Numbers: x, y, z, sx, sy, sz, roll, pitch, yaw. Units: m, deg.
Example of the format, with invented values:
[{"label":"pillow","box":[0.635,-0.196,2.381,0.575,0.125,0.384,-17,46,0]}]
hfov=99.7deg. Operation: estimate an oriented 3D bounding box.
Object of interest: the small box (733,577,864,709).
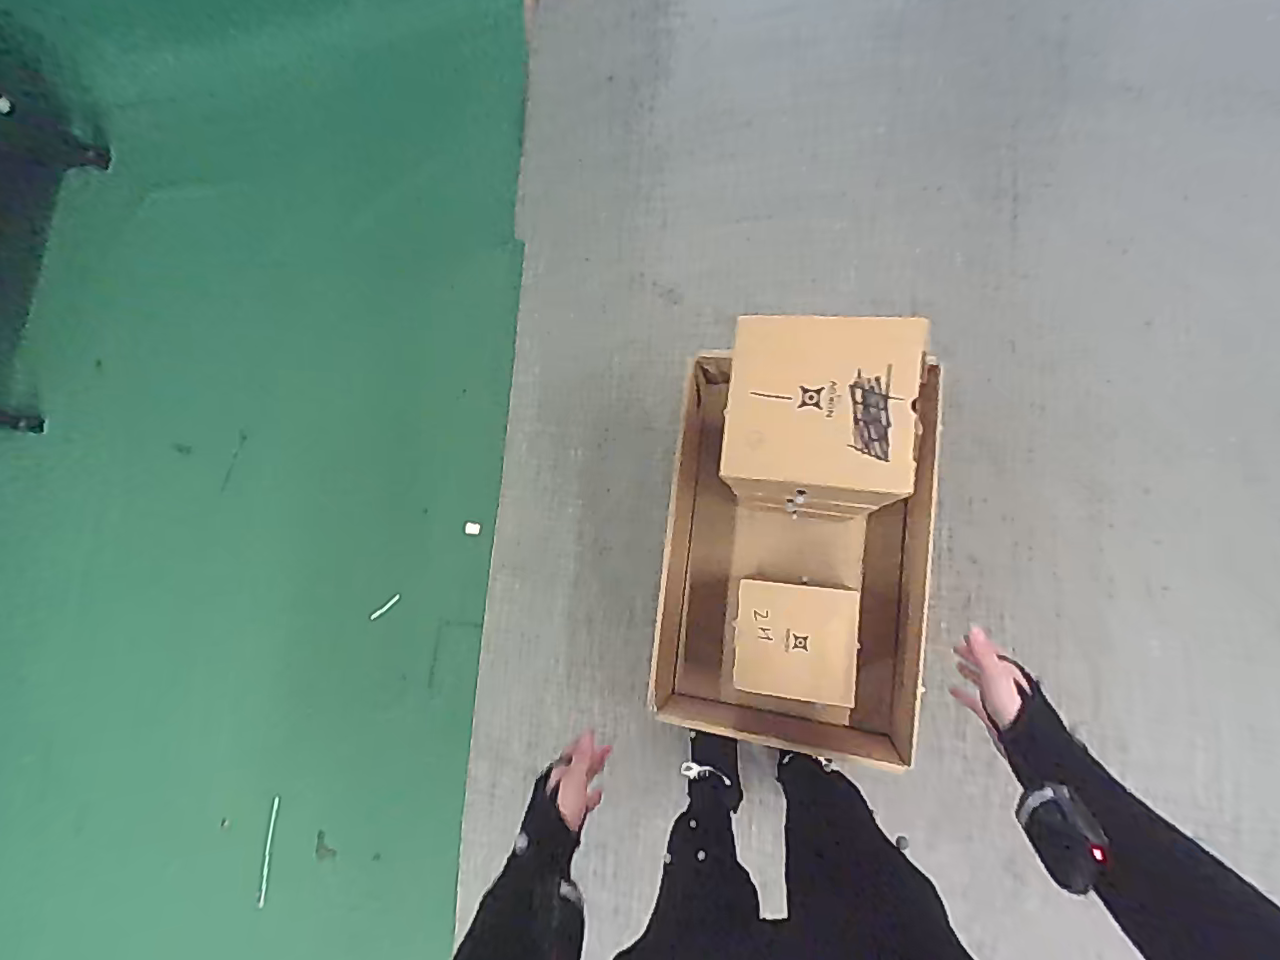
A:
[{"label":"small box","box":[0.250,0.249,0.871,0.179,0.176,0.168,5,83,15]}]

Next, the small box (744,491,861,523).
[{"label":"small box","box":[0.279,-0.022,0.906,0.179,0.176,0.168,9,85,14]}]

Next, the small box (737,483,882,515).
[{"label":"small box","box":[0.240,-0.045,0.749,0.179,0.176,0.168,8,86,16]}]

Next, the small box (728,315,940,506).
[{"label":"small box","box":[0.201,-0.065,0.590,0.179,0.176,0.168,7,85,16]}]
